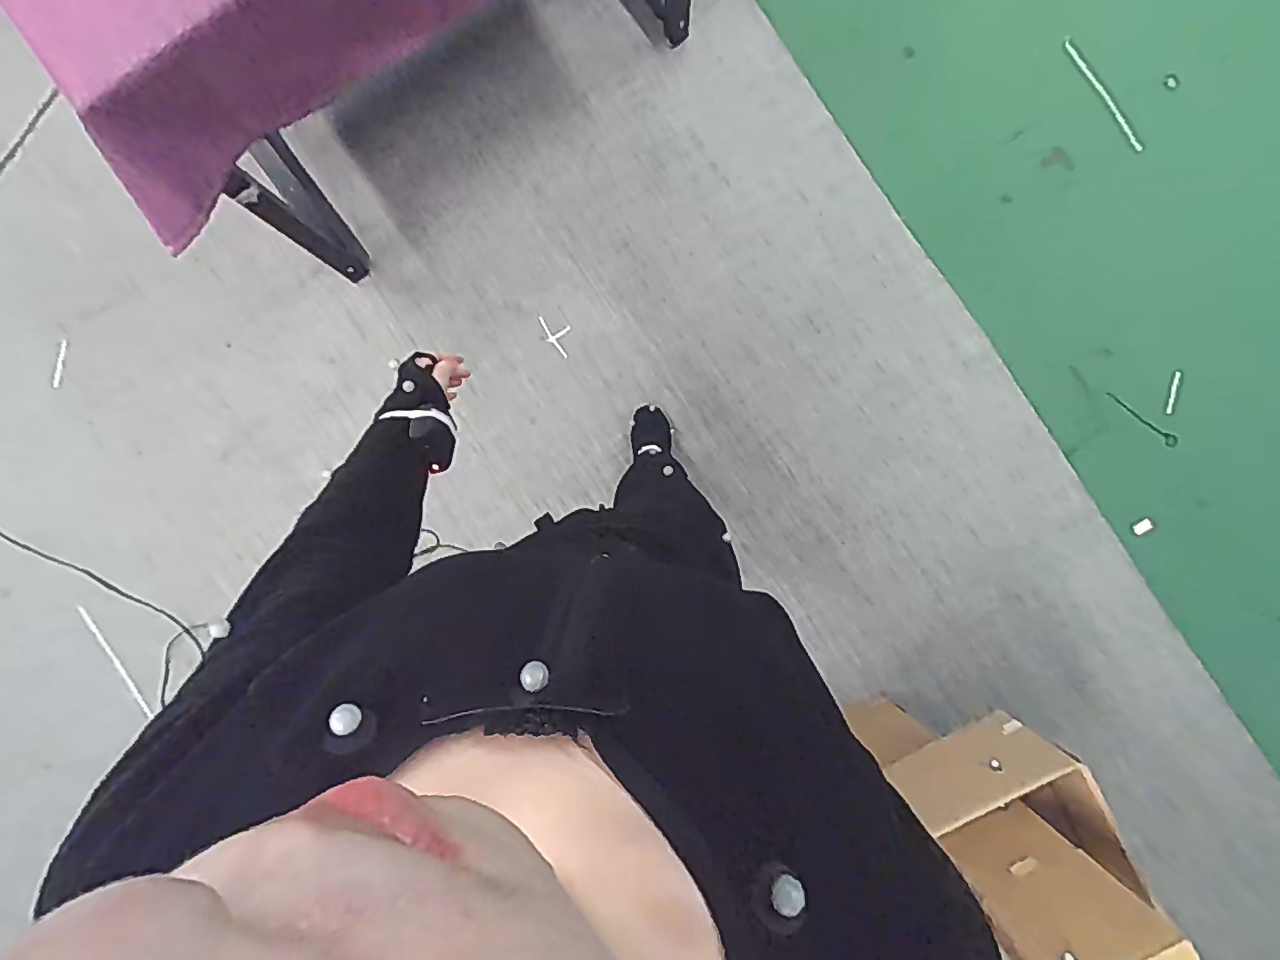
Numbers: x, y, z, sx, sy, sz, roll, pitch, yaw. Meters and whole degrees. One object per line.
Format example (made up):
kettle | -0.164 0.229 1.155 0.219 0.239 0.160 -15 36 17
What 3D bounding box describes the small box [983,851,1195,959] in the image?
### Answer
small box | 0.633 0.669 0.750 0.179 0.176 0.168 -29 89 3
